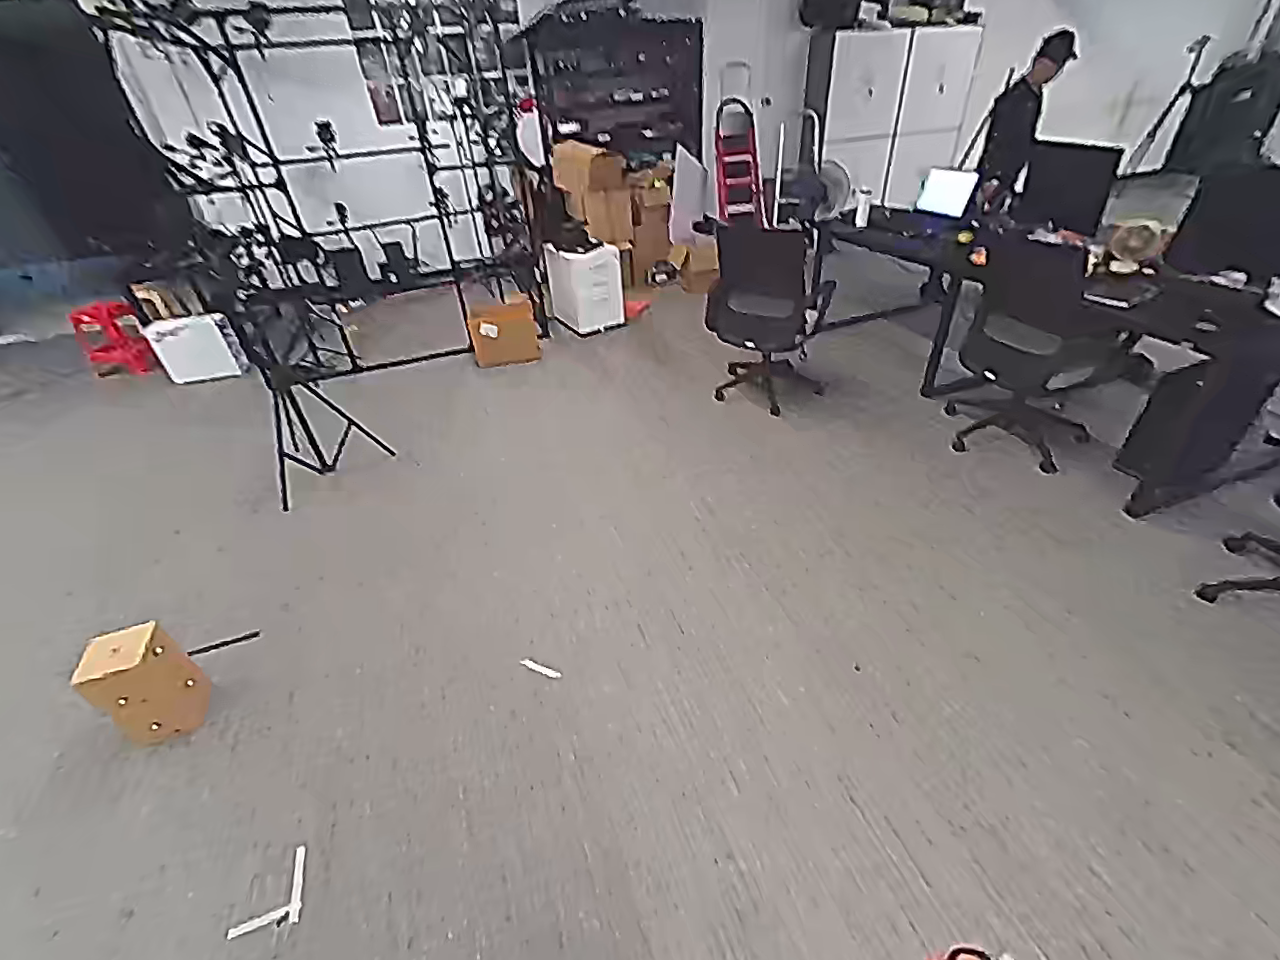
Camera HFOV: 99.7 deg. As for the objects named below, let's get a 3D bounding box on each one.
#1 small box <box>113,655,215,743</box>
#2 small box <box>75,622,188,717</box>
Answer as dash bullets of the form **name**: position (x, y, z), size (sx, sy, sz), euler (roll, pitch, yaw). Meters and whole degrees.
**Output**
- **small box**: position (-1.490, 0.698, 1.707), size (0.168, 0.176, 0.179), euler (-17, 37, -17)
- **small box**: position (-1.501, 0.565, 1.614), size (0.168, 0.176, 0.179), euler (-16, 38, -16)
